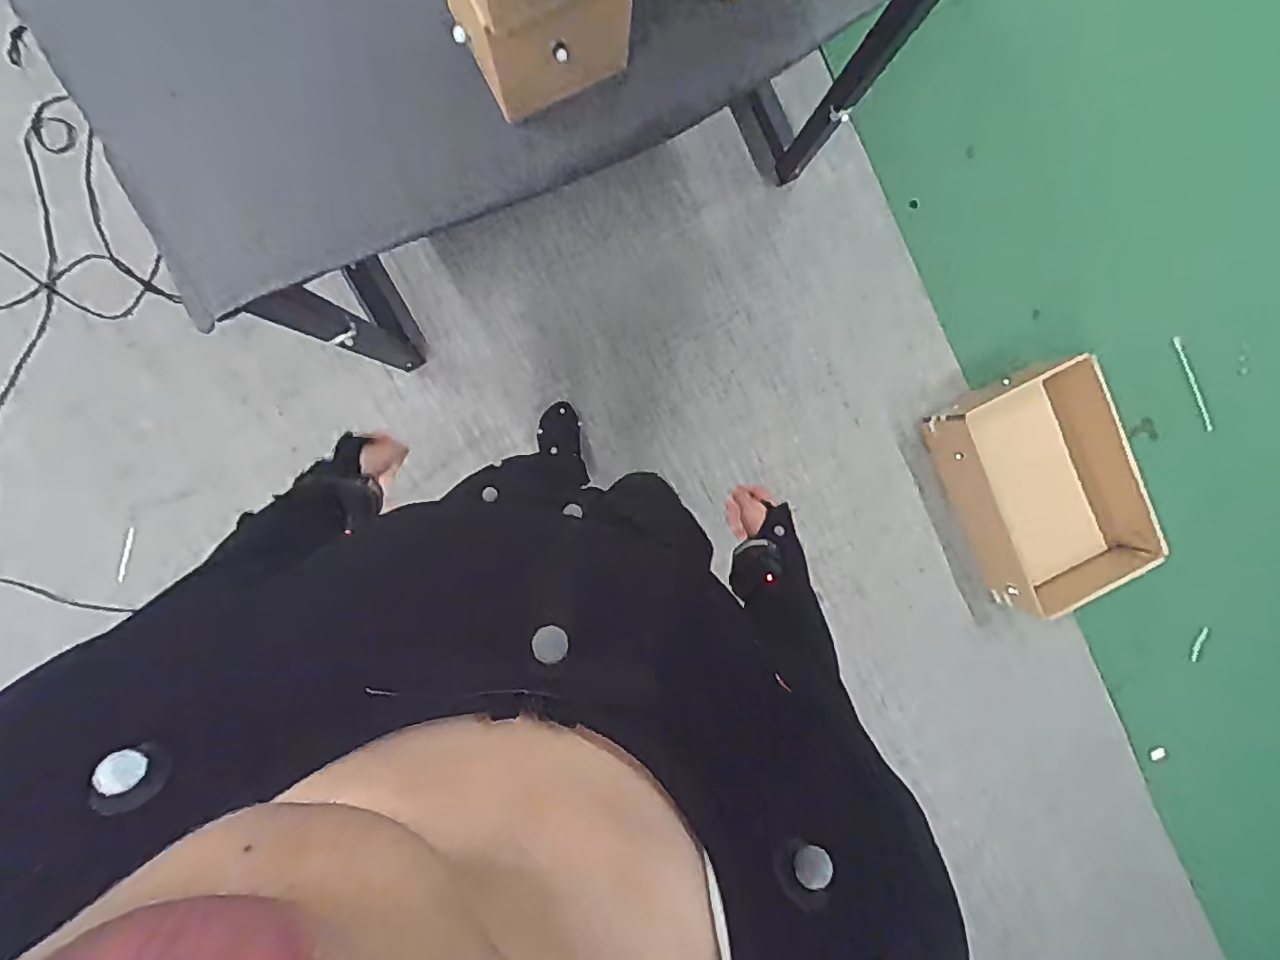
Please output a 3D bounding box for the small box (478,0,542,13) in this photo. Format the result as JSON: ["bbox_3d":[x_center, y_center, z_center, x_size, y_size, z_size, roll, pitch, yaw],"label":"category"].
[{"bbox_3d":[-0.104,-0.541,0.441,0.168,0.176,0.179,-29,95,-3],"label":"small box"}]

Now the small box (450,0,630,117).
[{"bbox_3d":[-0.121,-0.560,0.604,0.179,0.176,0.168,-27,95,-2],"label":"small box"}]
